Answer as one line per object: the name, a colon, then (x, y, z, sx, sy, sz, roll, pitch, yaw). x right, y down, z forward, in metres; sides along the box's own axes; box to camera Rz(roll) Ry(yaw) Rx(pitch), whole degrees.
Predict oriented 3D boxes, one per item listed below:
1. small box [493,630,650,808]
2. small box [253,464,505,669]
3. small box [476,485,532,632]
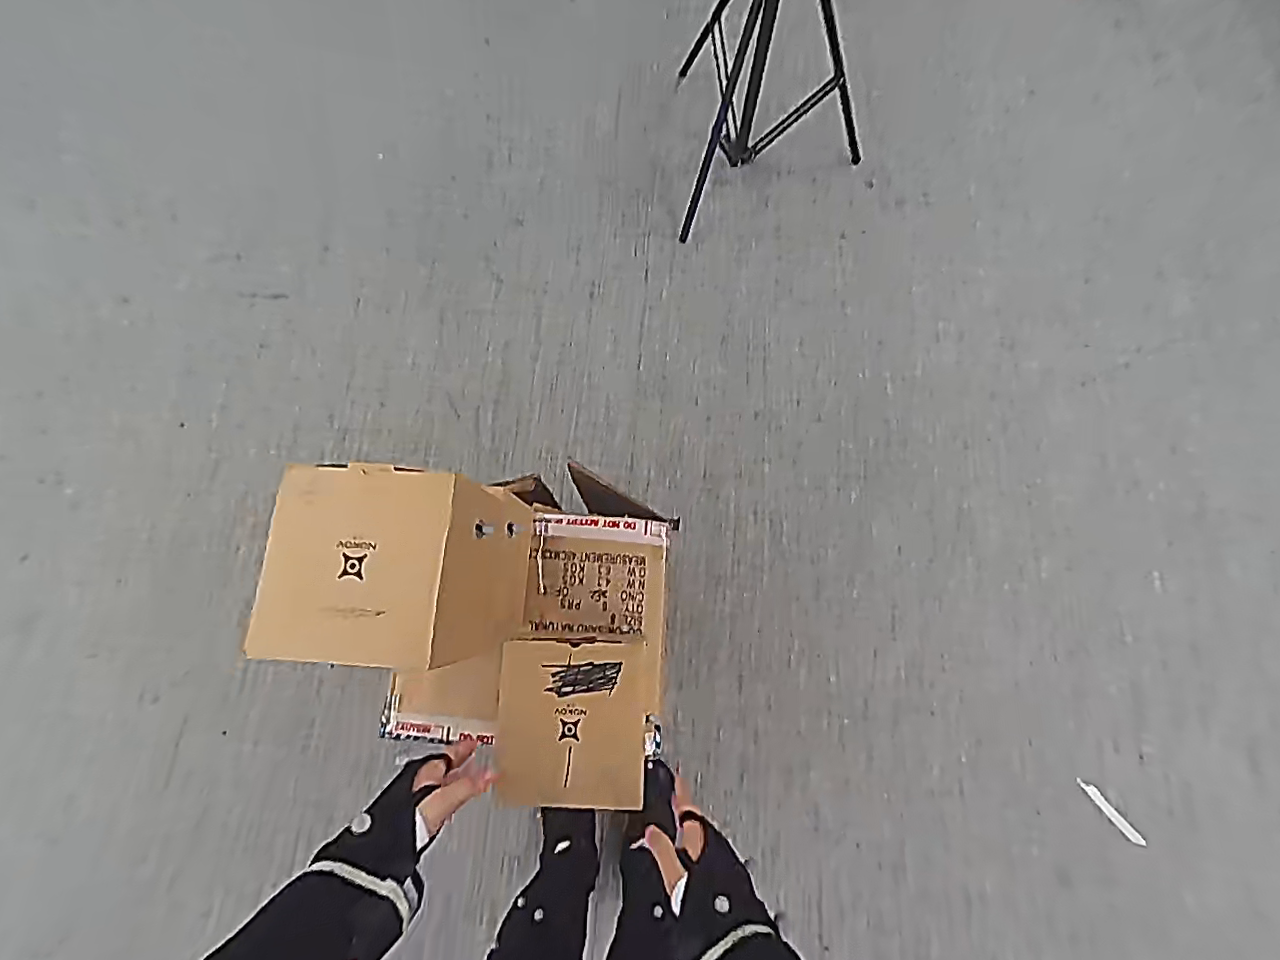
small box: (-0.075, 0.284, 0.679, 0.168, 0.176, 0.179, 2, 78, 1)
small box: (-0.246, 0.090, 0.560, 0.168, 0.176, 0.179, 2, 78, 3)
small box: (-0.247, 0.106, 0.723, 0.168, 0.176, 0.179, 3, 78, 3)
